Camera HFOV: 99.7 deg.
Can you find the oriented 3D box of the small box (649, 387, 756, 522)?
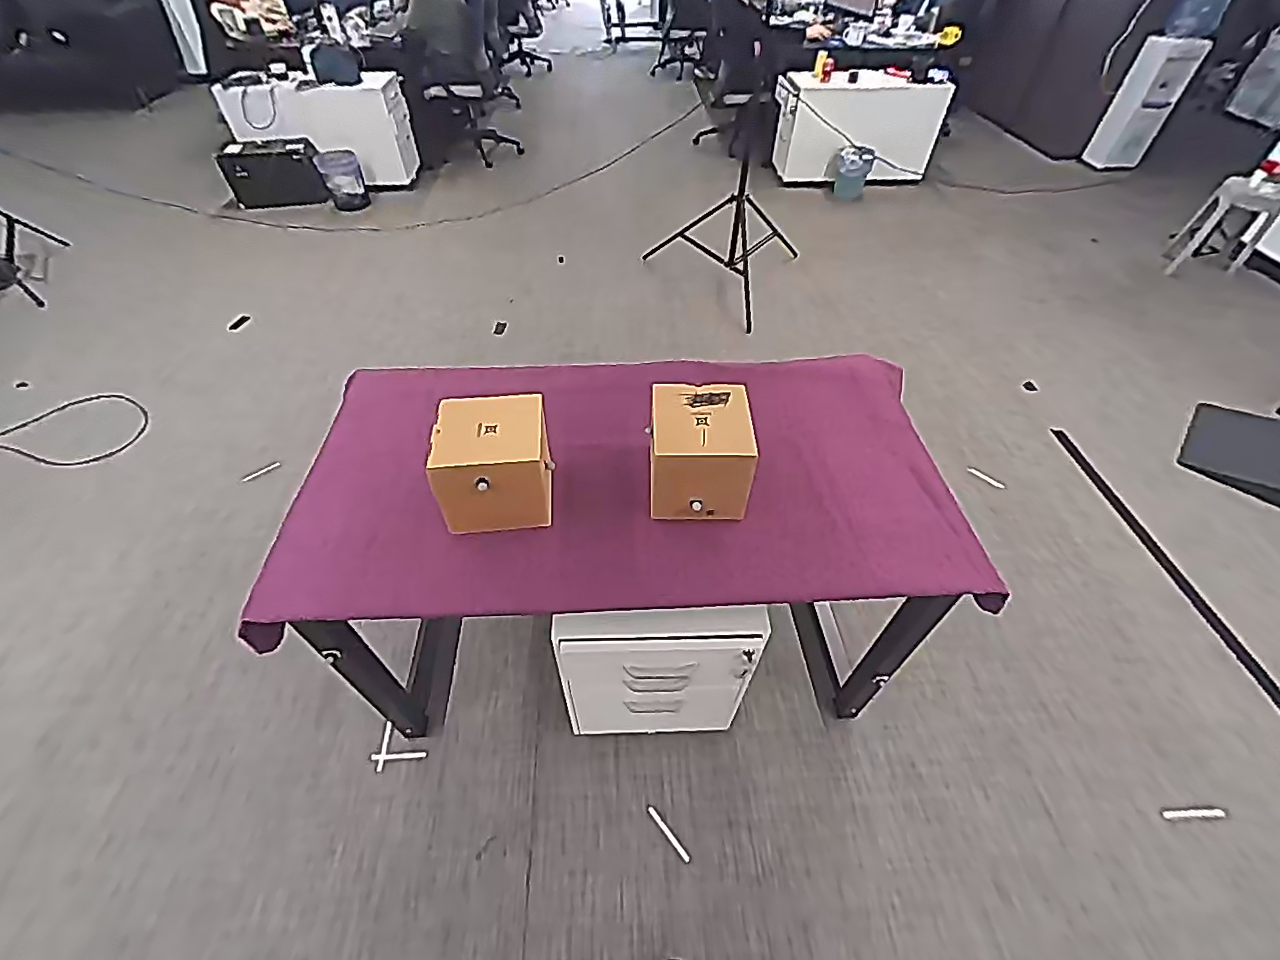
[{"bbox_3d":[0.101,-0.046,0.966,0.168,0.176,0.179,0,49,0],"label":"small box"}]

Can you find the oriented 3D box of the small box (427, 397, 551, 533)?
[{"bbox_3d":[-0.249,-0.025,0.944,0.179,0.176,0.168,-5,48,-4],"label":"small box"}]
